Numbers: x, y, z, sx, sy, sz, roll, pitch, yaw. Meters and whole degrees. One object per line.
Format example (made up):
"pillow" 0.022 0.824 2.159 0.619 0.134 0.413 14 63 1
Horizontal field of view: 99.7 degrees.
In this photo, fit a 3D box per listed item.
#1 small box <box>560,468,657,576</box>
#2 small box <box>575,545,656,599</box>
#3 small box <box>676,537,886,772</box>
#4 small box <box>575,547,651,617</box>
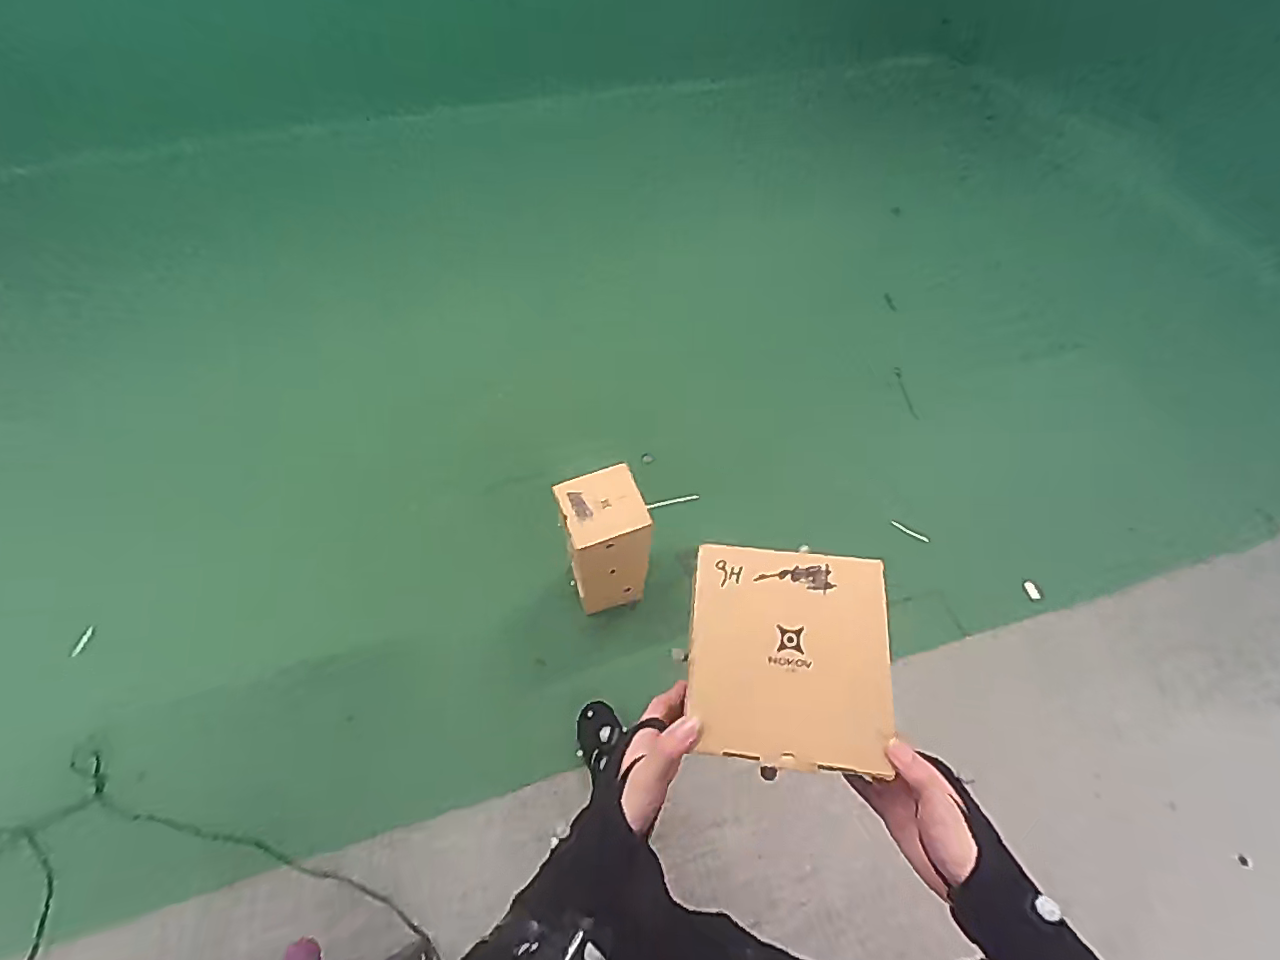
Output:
"small box" -0.071 0.103 1.247 0.179 0.176 0.168 -18 63 -11
"small box" -0.069 0.185 1.390 0.179 0.176 0.168 -17 62 -9
"small box" 0.125 0.171 0.530 0.168 0.176 0.179 5 66 5
"small box" -0.078 0.270 1.528 0.179 0.176 0.168 -14 61 -9
